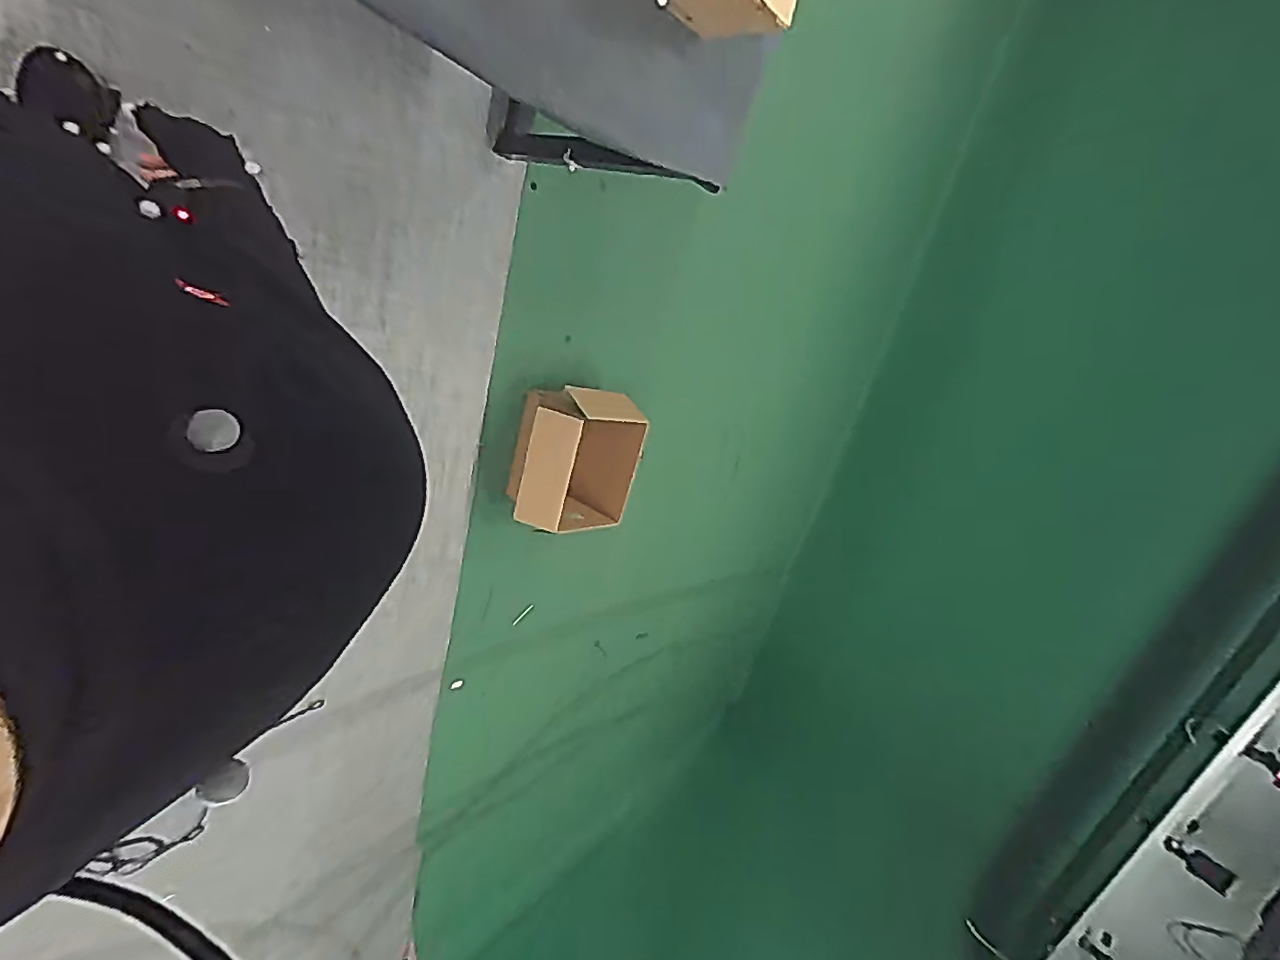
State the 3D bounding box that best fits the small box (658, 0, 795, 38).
[{"bbox_3d":[0.120,-0.756,0.752,0.168,0.176,0.179,-9,120,-47],"label":"small box"}]
